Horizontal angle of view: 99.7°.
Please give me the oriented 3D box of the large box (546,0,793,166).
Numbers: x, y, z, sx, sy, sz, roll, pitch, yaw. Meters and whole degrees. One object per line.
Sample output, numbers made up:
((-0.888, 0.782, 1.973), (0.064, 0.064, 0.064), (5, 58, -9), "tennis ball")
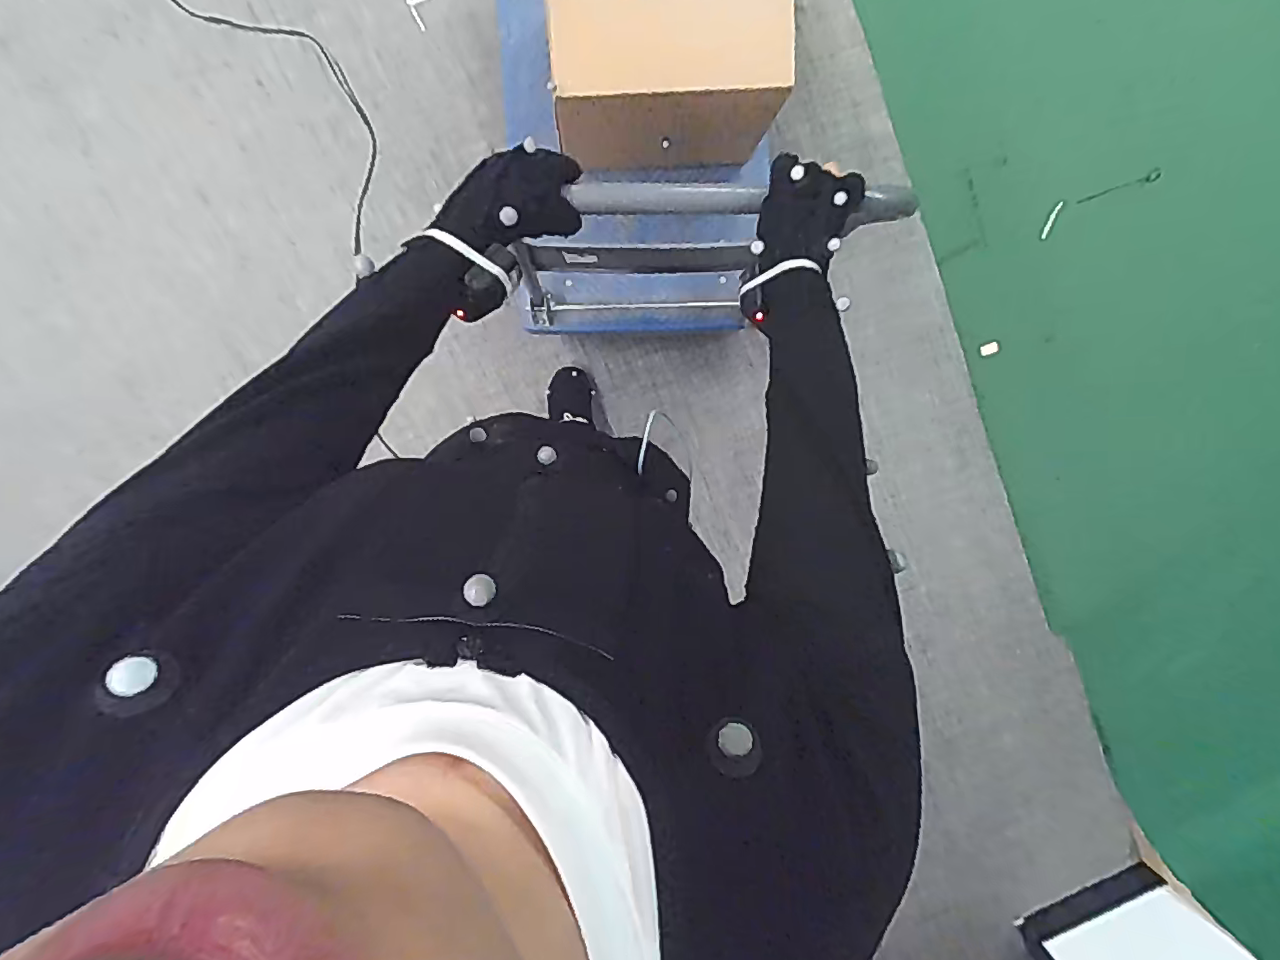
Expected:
((0.038, -0.823, 1.016), (0.408, 0.320, 0.320), (-5, 99, -3), "large box")
